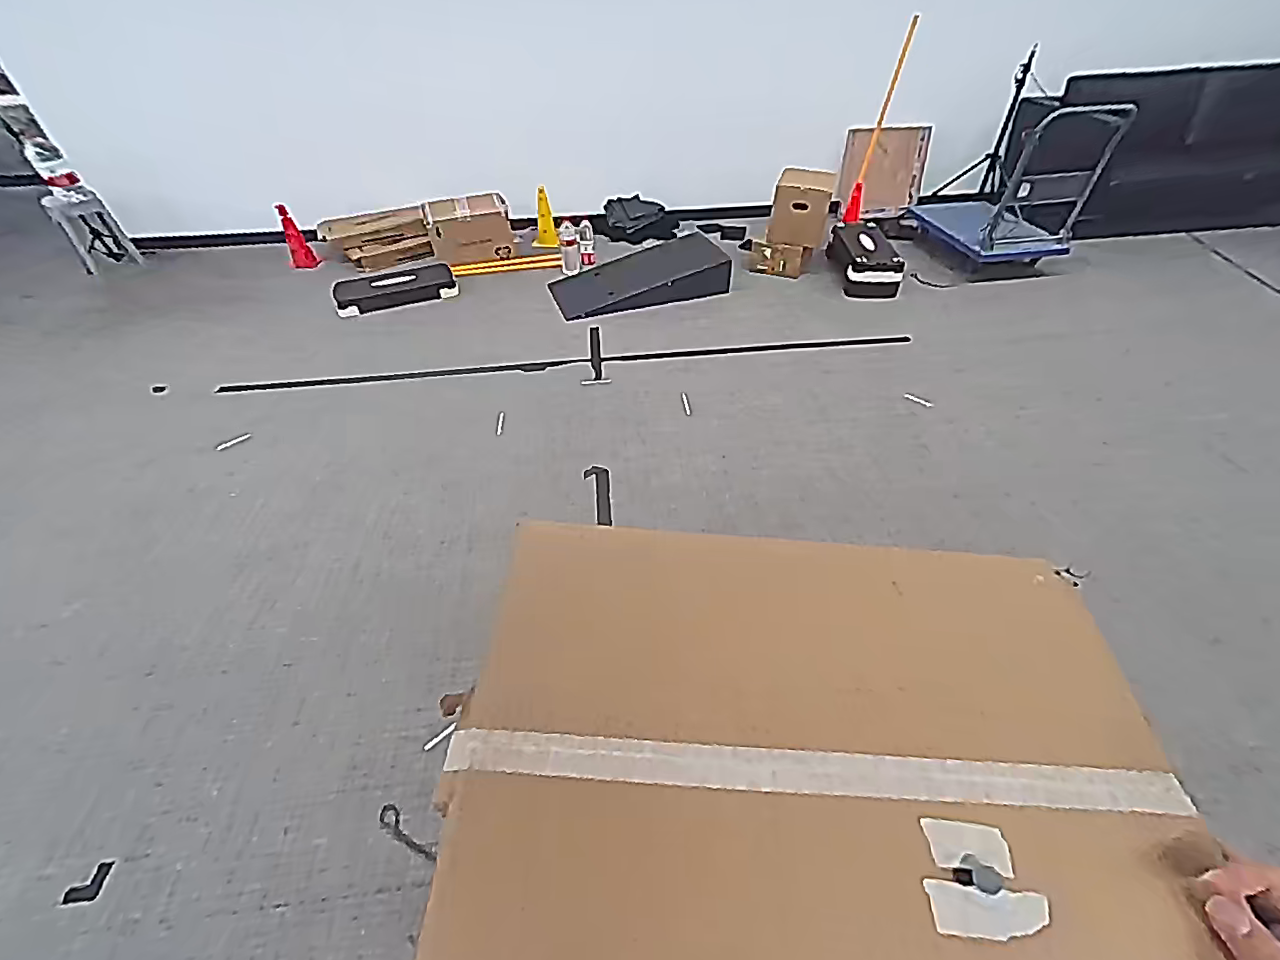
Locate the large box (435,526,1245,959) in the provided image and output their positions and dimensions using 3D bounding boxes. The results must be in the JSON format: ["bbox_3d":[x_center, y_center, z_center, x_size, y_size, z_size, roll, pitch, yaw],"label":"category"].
[{"bbox_3d":[0.093,0.259,0.428,0.408,0.320,0.320,5,51,-2],"label":"large box"}]
